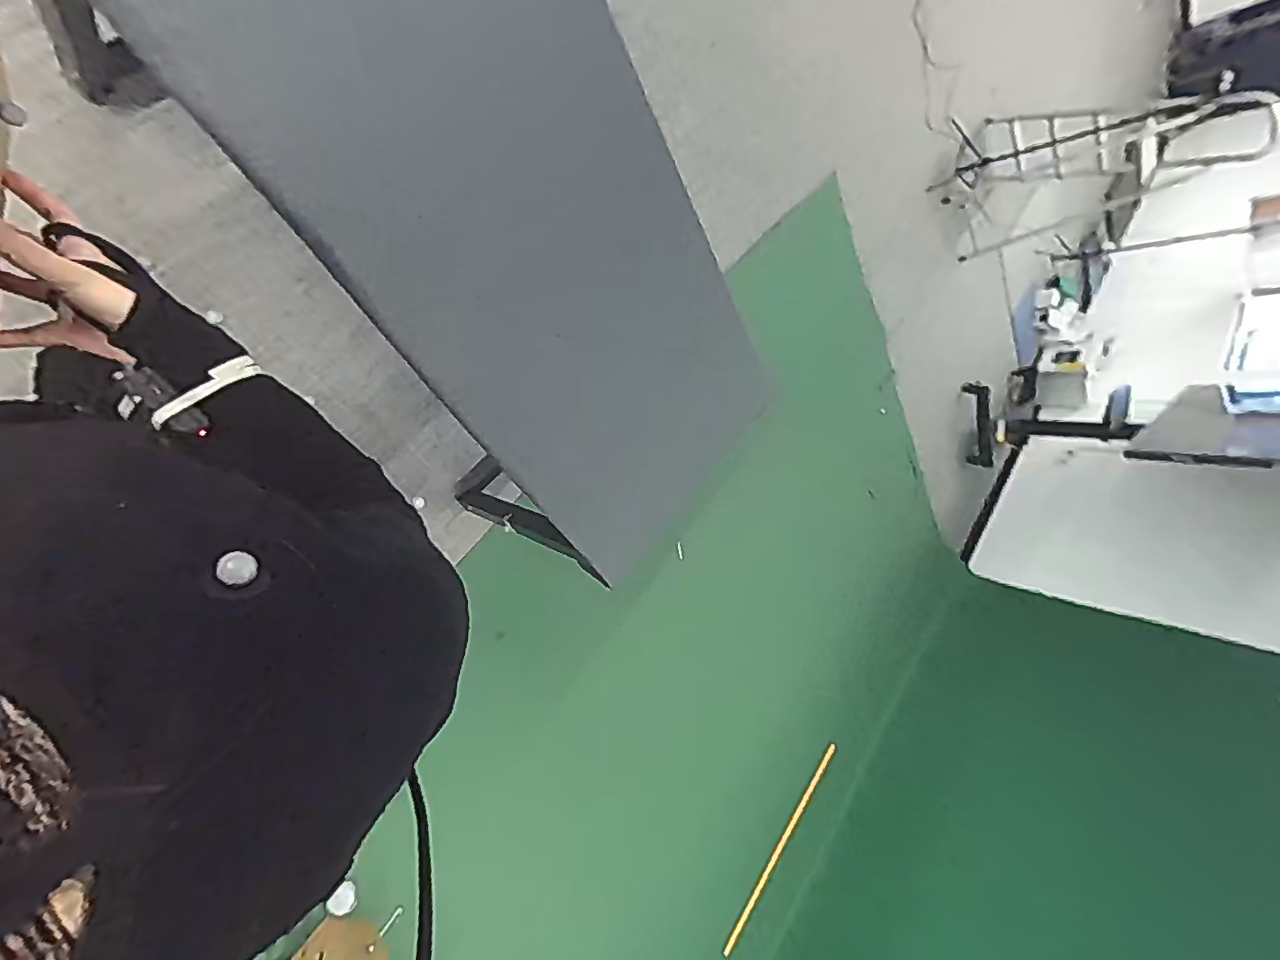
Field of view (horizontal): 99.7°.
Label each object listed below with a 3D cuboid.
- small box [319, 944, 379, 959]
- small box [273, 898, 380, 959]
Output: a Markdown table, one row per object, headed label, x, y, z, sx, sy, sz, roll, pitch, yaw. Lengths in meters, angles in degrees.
| label | x | y | z | sx | sy | sz | roll | pitch | yaw |
| --- | --- | --- | --- | --- | --- | --- | --- | --- | --- |
| small box | -0.748 | 1.316 | 1.348 | 0.168 | 0.176 | 0.179 | -47 | 125 | -24 |
| small box | -0.856 | 1.291 | 1.471 | 0.168 | 0.176 | 0.179 | -49 | 127 | -22 |
